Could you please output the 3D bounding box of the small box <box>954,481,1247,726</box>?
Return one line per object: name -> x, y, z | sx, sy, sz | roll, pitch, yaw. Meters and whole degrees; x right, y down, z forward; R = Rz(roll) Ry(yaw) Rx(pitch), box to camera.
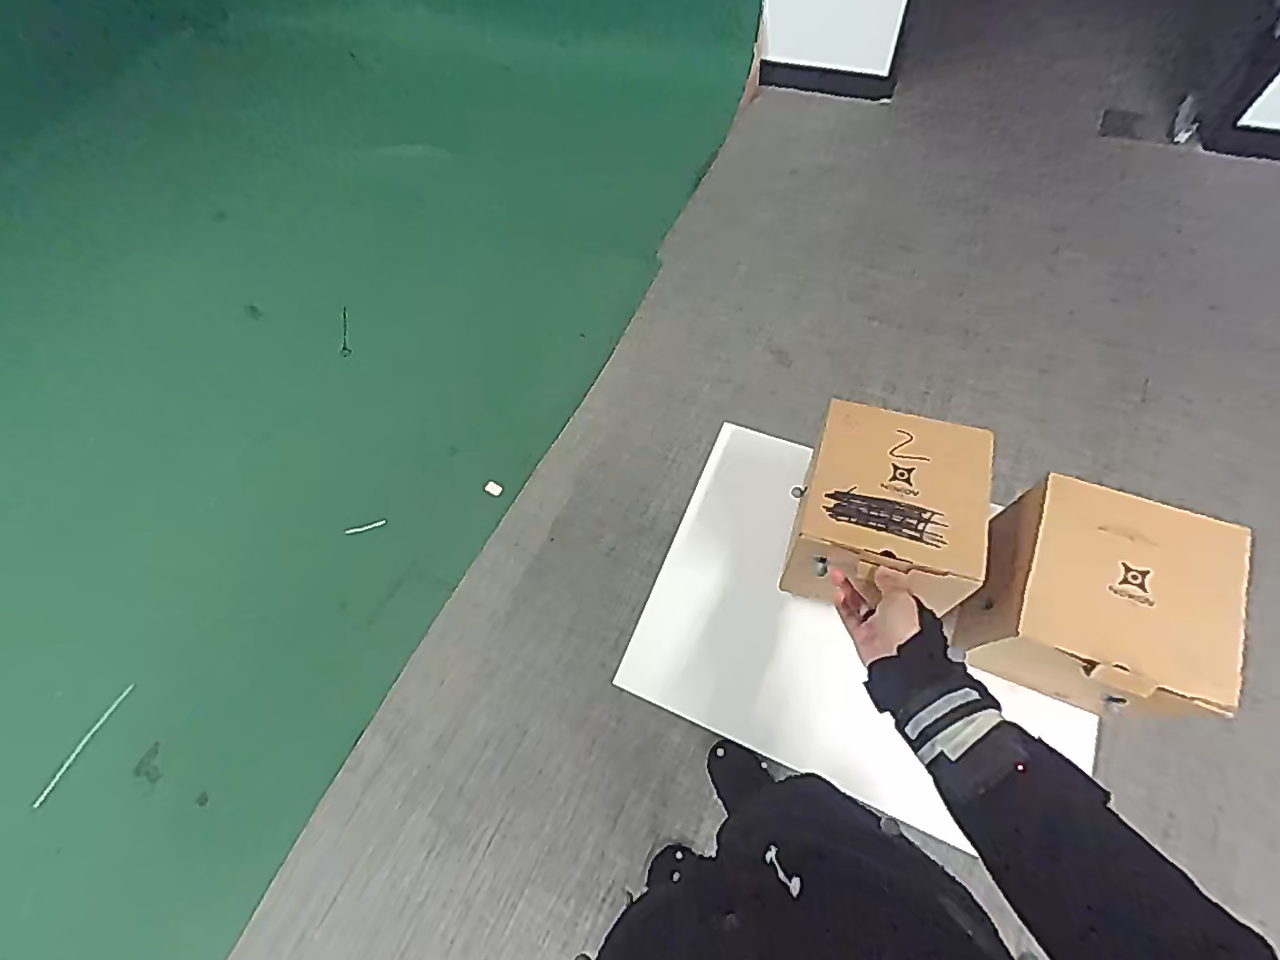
small box -> 0.450, 0.133, 0.556 | 0.168, 0.176, 0.179 | 19, 69, 15
